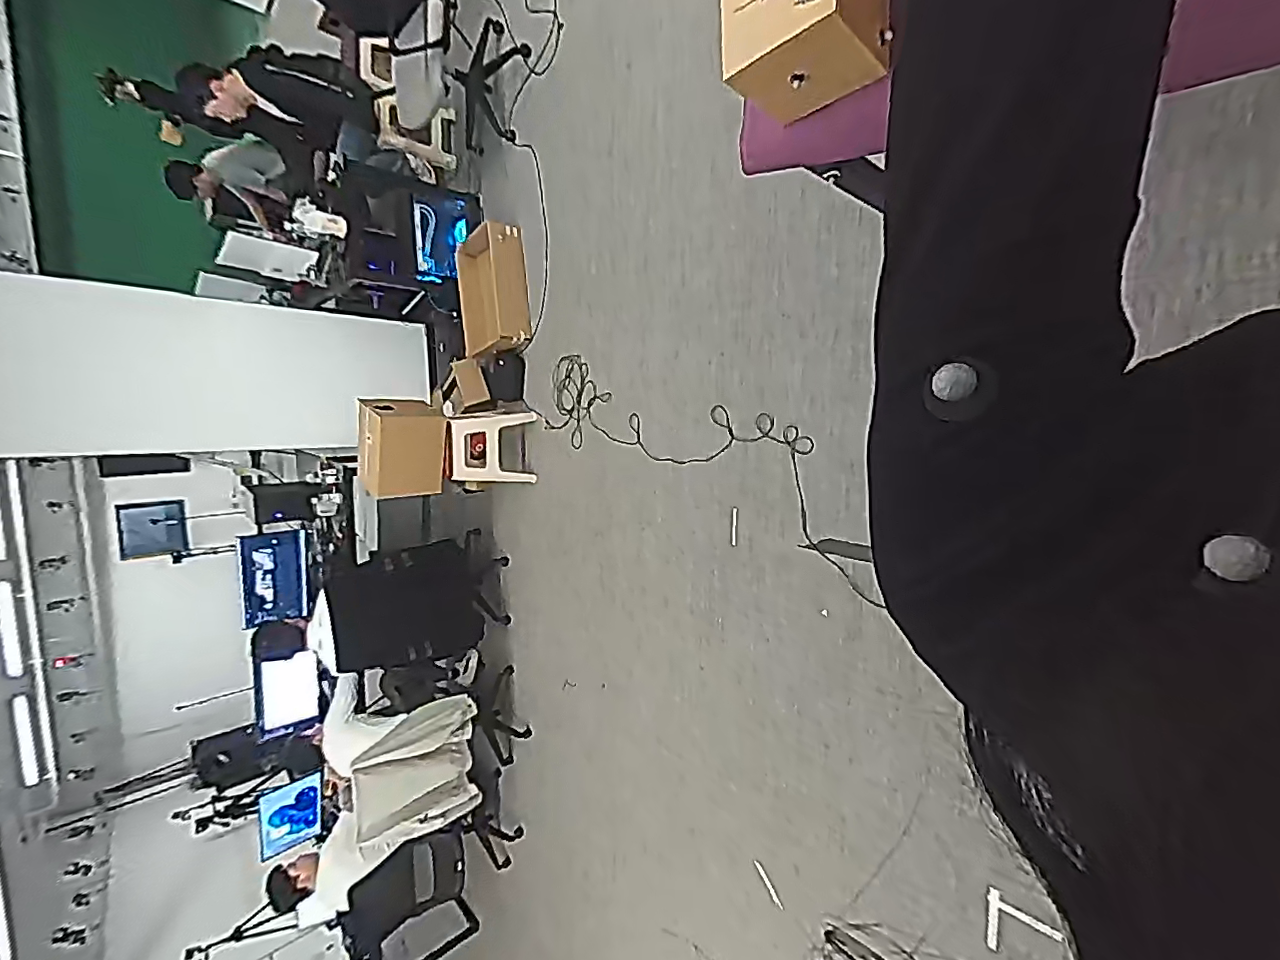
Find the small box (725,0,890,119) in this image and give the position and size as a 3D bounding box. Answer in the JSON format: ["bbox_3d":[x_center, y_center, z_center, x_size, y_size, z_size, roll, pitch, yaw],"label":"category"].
[{"bbox_3d":[0.240,-0.657,0.762,0.179,0.176,0.168,1,94,47],"label":"small box"}]
